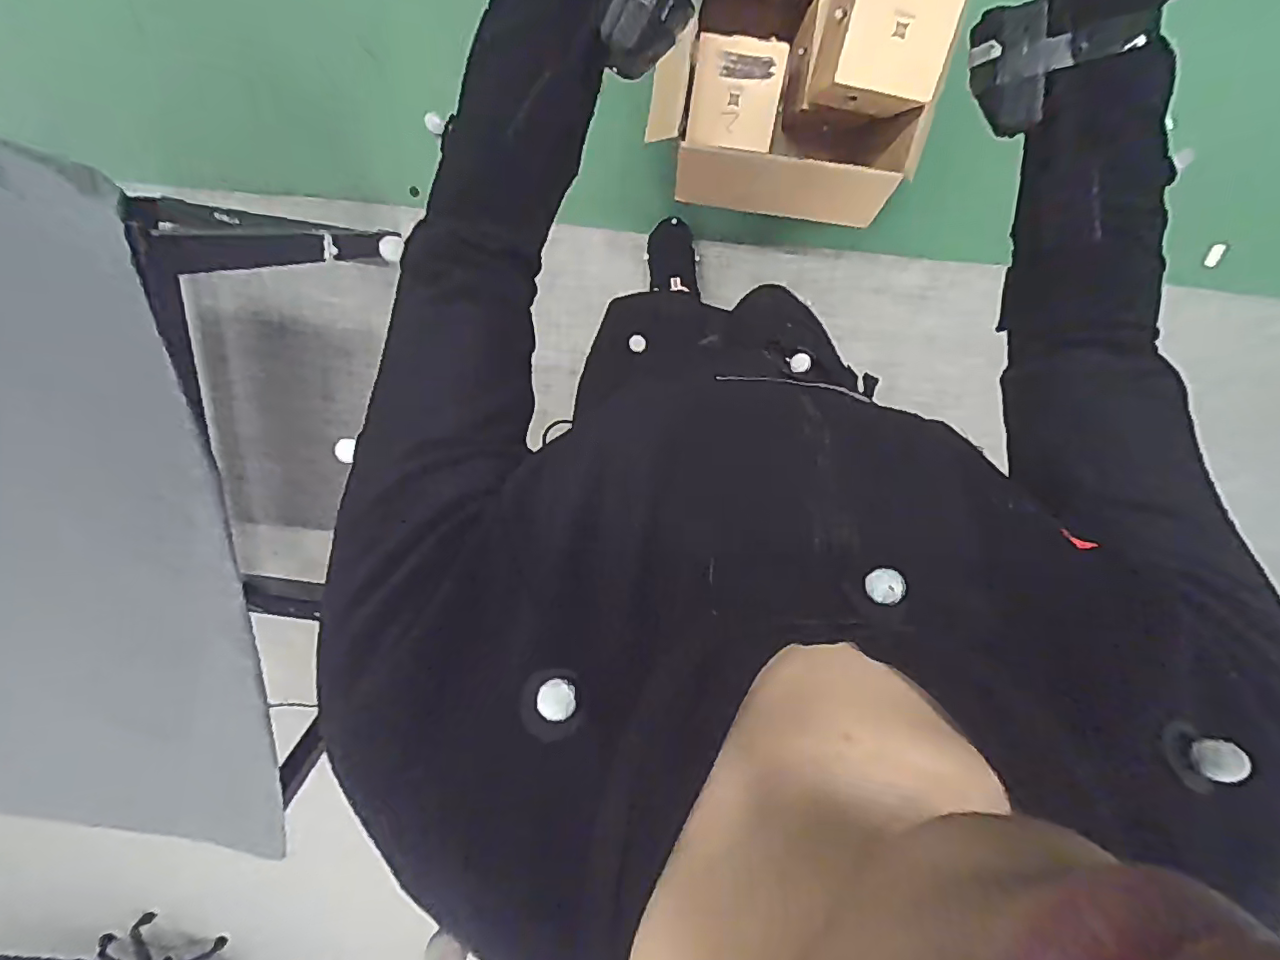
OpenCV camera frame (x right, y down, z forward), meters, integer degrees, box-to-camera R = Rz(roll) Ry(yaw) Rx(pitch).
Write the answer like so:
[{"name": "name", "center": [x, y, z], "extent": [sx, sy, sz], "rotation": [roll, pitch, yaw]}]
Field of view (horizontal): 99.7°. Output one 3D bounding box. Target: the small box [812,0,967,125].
[{"name": "small box", "center": [0.403, -0.718, 0.902], "extent": [0.168, 0.176, 0.179], "rotation": [9, 114, -3]}]
